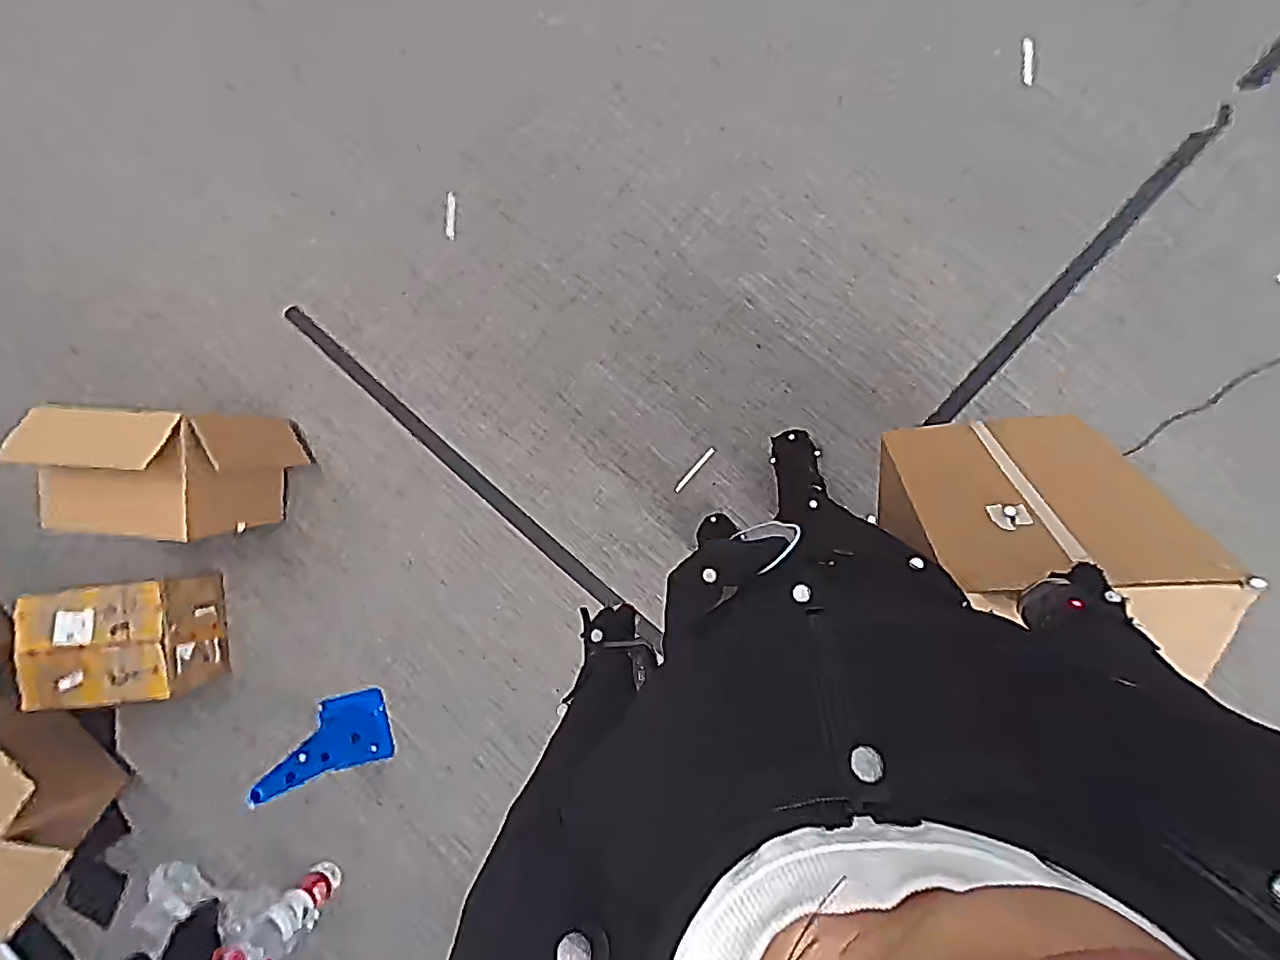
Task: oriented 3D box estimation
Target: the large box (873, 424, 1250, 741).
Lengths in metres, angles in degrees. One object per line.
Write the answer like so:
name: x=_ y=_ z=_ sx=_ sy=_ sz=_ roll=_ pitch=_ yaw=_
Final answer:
large box: x=0.594 y=0.150 z=0.882 sx=0.320 sy=0.408 sz=0.320 roll=-5 pitch=124 yaw=13
